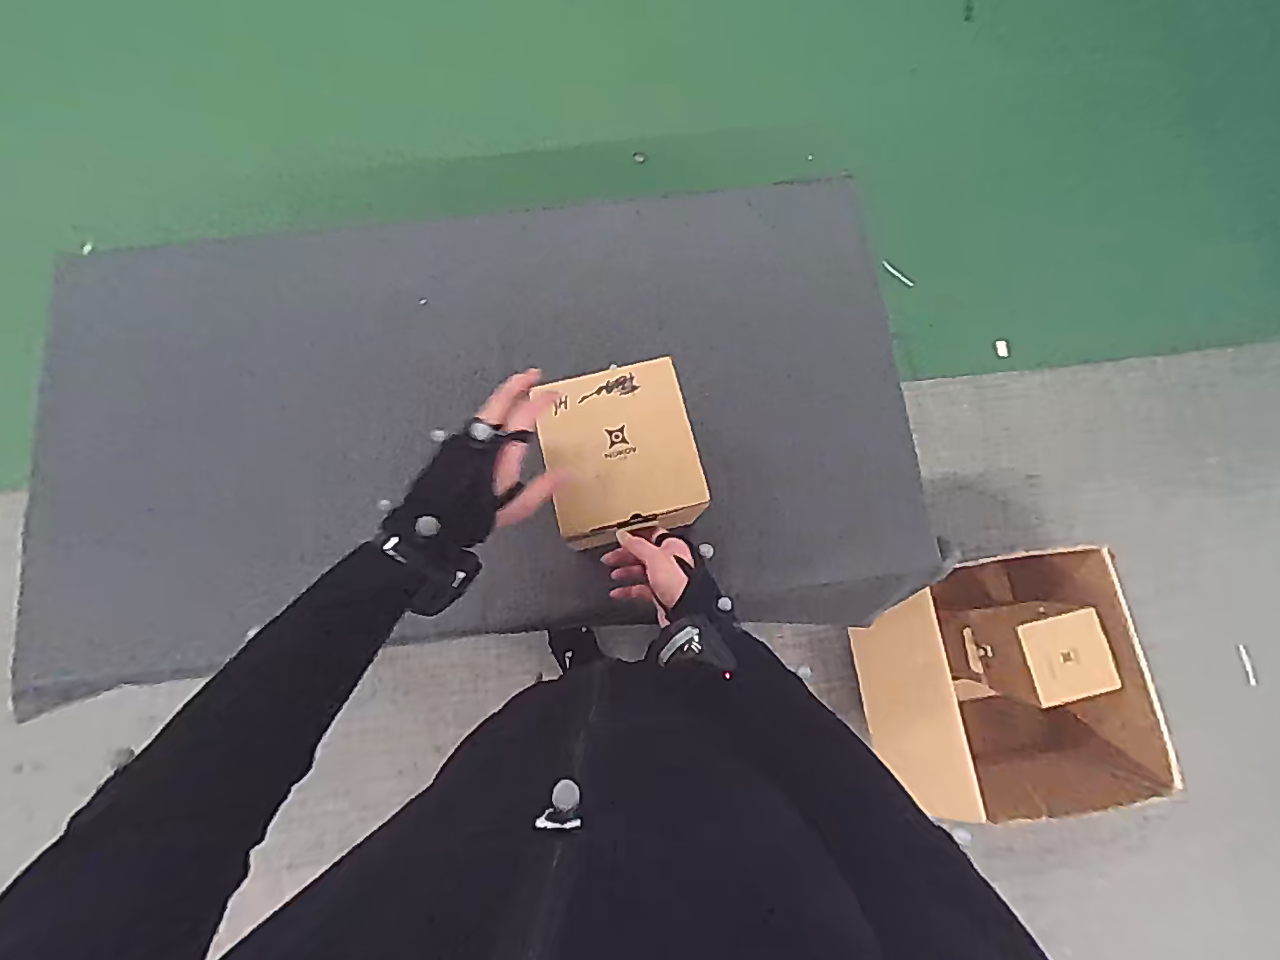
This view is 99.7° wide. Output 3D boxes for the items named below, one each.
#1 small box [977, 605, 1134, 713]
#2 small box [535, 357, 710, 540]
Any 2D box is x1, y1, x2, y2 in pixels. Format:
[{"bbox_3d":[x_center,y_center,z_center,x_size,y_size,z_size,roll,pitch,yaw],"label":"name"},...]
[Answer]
[{"bbox_3d":[0.870,0.370,1.149,0.179,0.176,0.168,-14,81,-2],"label":"small box"},{"bbox_3d":[-0.021,-0.026,0.672,0.168,0.176,0.179,-13,79,-4],"label":"small box"}]
